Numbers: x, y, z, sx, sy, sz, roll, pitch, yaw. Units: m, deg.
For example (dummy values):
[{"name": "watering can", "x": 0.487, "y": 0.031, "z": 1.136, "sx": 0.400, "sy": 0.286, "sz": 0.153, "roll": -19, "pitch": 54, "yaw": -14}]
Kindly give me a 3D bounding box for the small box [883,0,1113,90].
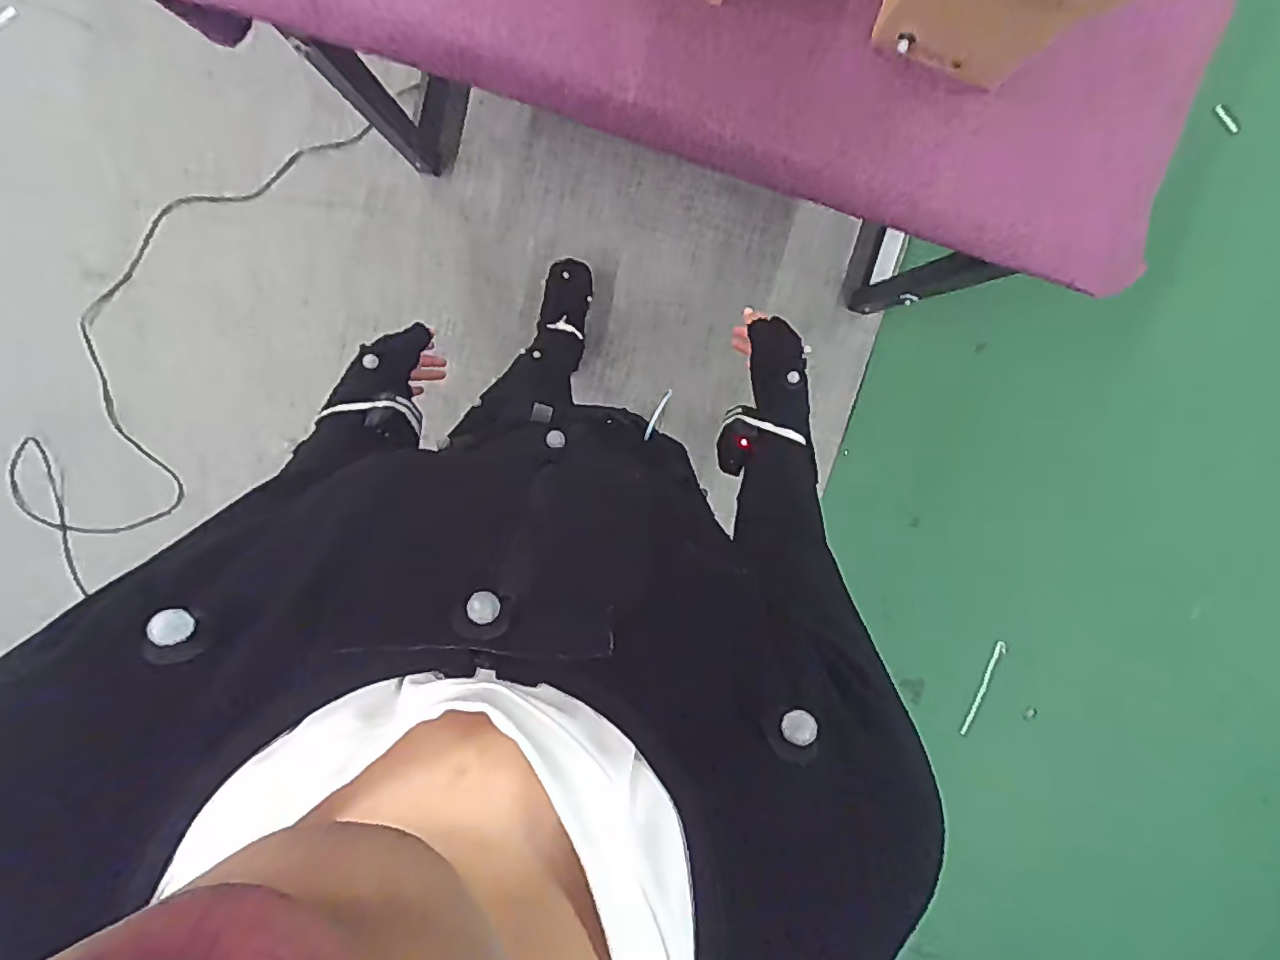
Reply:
[{"name": "small box", "x": 0.382, "y": -0.552, "z": 0.553, "sx": 0.168, "sy": 0.176, "sz": 0.179, "roll": 20, "pitch": 100, "yaw": -7}]
